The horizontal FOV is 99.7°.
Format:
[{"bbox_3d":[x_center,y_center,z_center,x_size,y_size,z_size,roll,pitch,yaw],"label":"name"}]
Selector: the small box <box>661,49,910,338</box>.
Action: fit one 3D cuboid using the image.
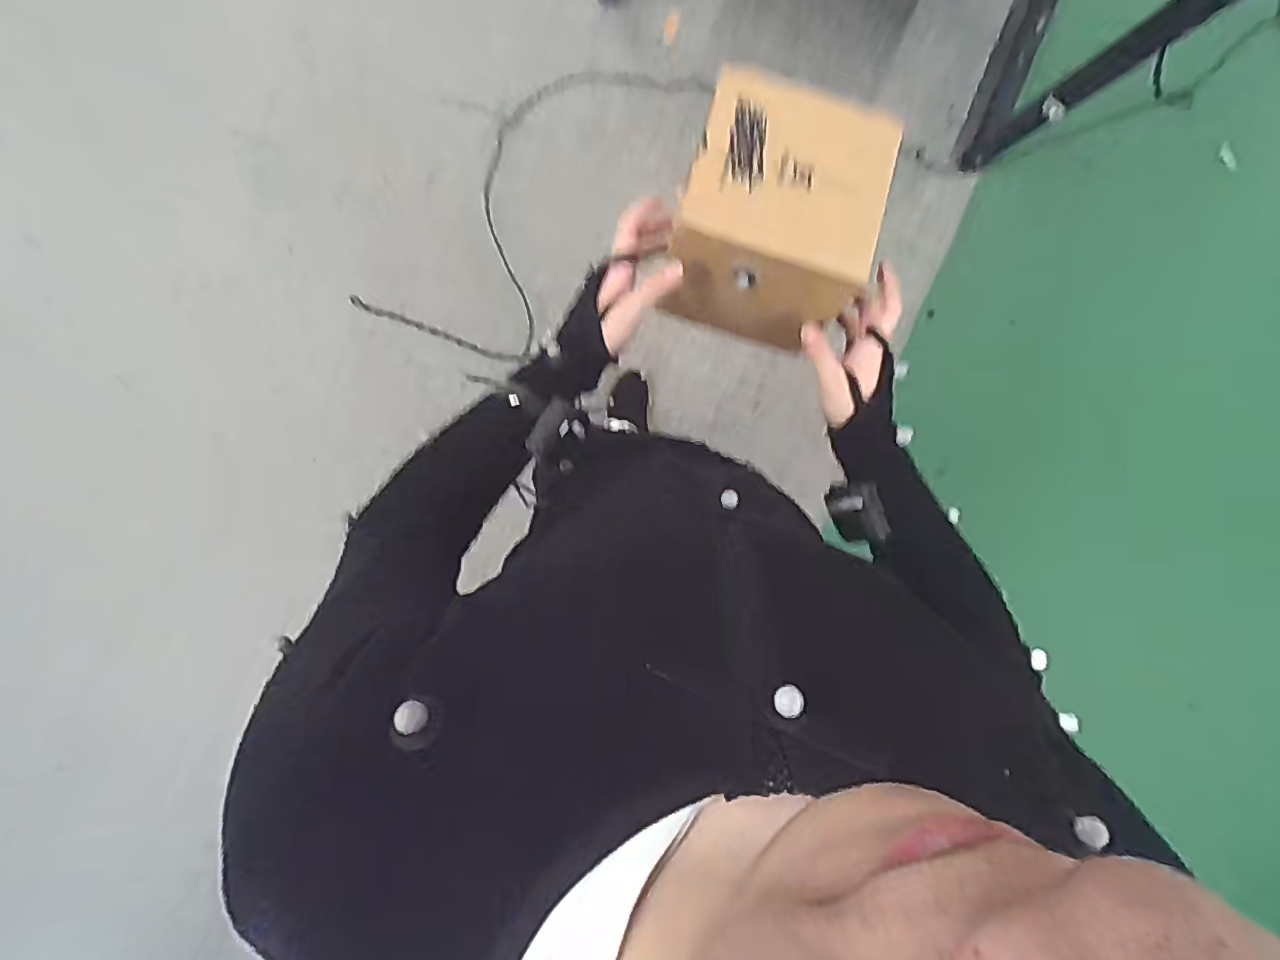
[{"bbox_3d":[0.127,-0.264,0.539,0.179,0.176,0.168,17,81,-2],"label":"small box"}]
